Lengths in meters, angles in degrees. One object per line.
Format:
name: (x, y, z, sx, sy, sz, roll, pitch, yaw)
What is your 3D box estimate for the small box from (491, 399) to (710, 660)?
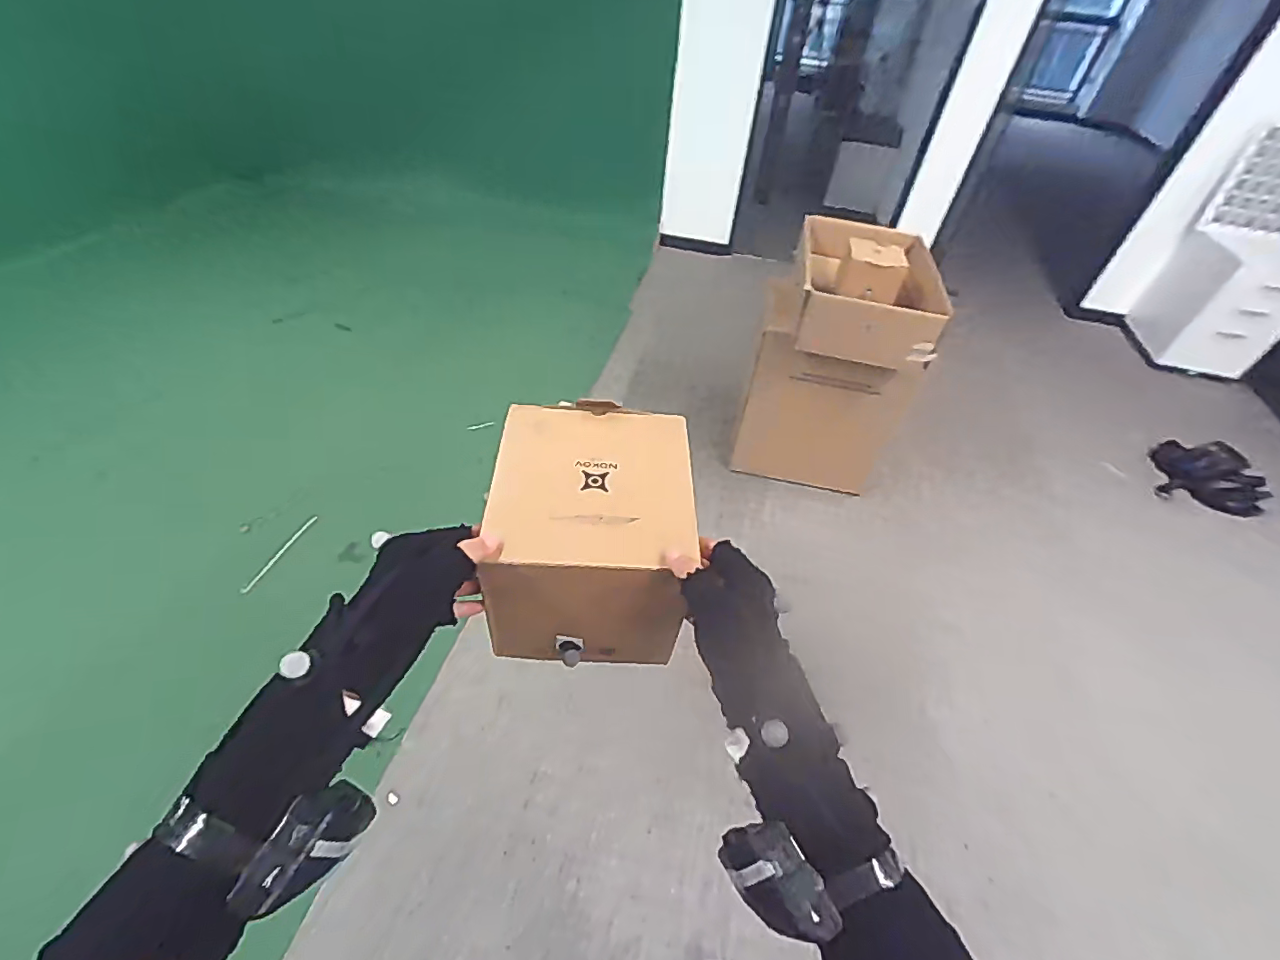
small box: (-0.037, 0.049, 0.511, 0.168, 0.176, 0.179, 4, 49, -5)
